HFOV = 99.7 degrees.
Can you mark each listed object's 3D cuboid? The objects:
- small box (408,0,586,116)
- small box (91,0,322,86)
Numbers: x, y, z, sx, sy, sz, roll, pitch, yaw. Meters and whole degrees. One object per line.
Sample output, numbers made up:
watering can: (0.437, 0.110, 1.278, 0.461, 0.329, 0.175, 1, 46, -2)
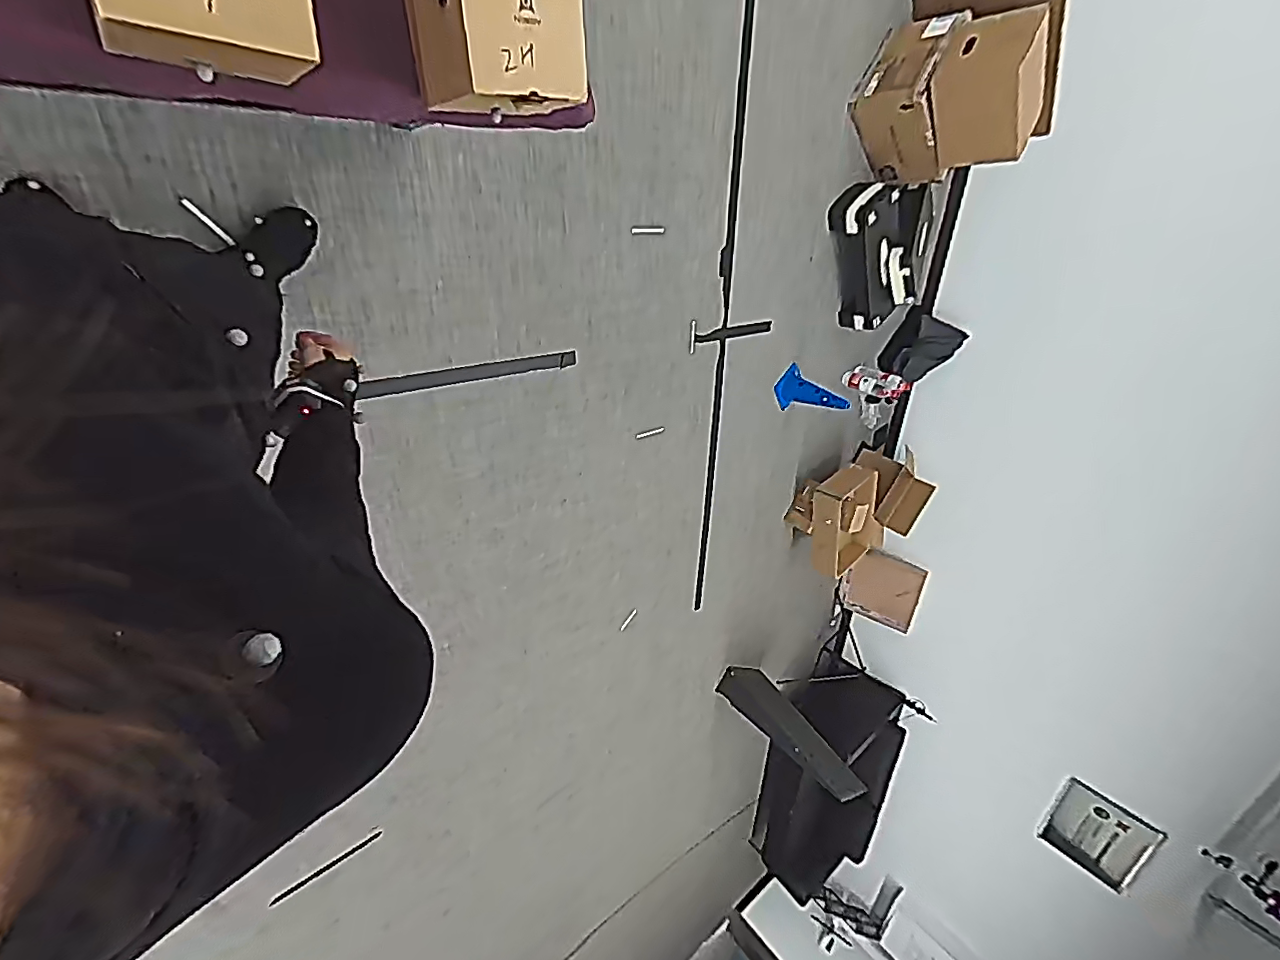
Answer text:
small box: (-0.187, -0.587, 0.697, 0.168, 0.176, 0.179, -22, 125, -33)
small box: (-0.429, -0.506, 0.515, 0.168, 0.176, 0.179, -17, 123, -37)
